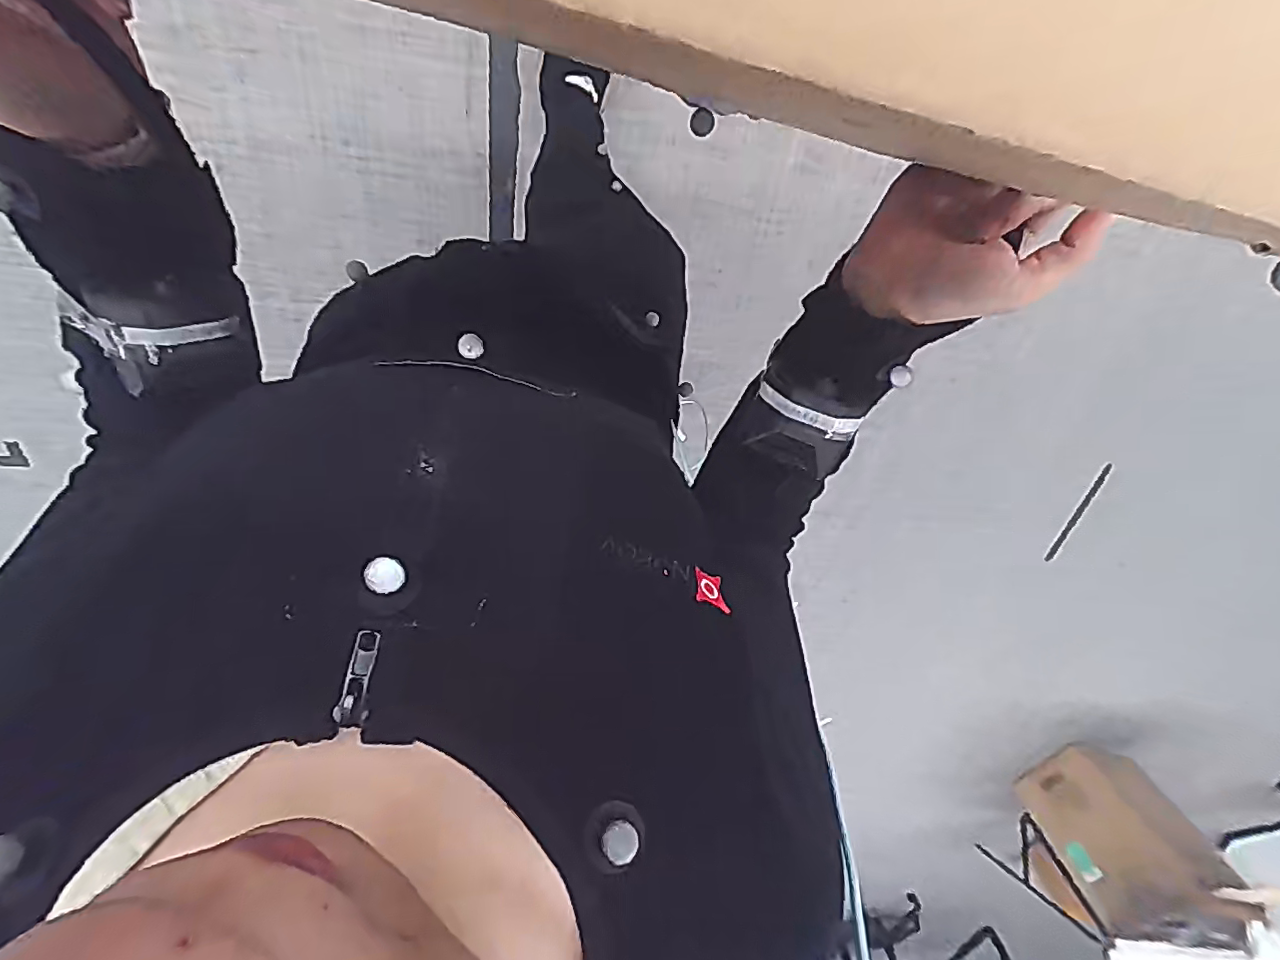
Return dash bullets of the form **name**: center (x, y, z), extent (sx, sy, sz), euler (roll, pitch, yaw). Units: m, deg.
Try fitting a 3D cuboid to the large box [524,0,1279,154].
- **large box**: center (0.011, -0.305, 0.114), extent (0.408, 0.320, 0.320), euler (6, 128, -13)
